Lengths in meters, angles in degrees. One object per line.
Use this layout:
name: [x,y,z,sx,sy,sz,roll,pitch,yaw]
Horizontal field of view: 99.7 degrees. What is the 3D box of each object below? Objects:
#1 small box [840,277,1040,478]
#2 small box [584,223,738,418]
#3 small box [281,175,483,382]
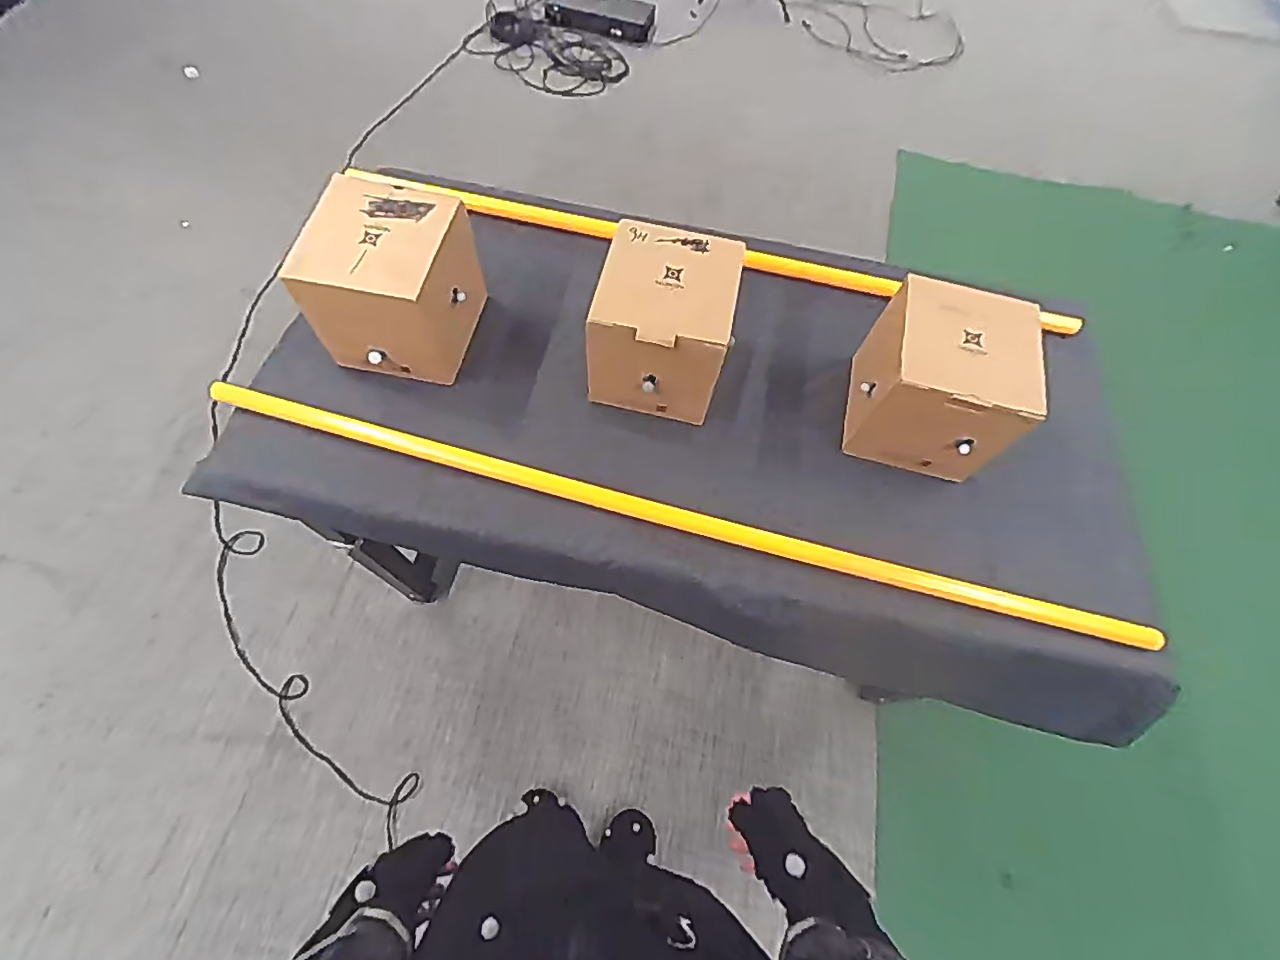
small box: [0.378,-0.125,0.708,0.168,0.176,0.179,16,63,2]
small box: [0.028,-0.205,0.723,0.168,0.176,0.179,10,63,2]
small box: [-0.321,-0.261,0.720,0.168,0.176,0.179,11,65,1]
